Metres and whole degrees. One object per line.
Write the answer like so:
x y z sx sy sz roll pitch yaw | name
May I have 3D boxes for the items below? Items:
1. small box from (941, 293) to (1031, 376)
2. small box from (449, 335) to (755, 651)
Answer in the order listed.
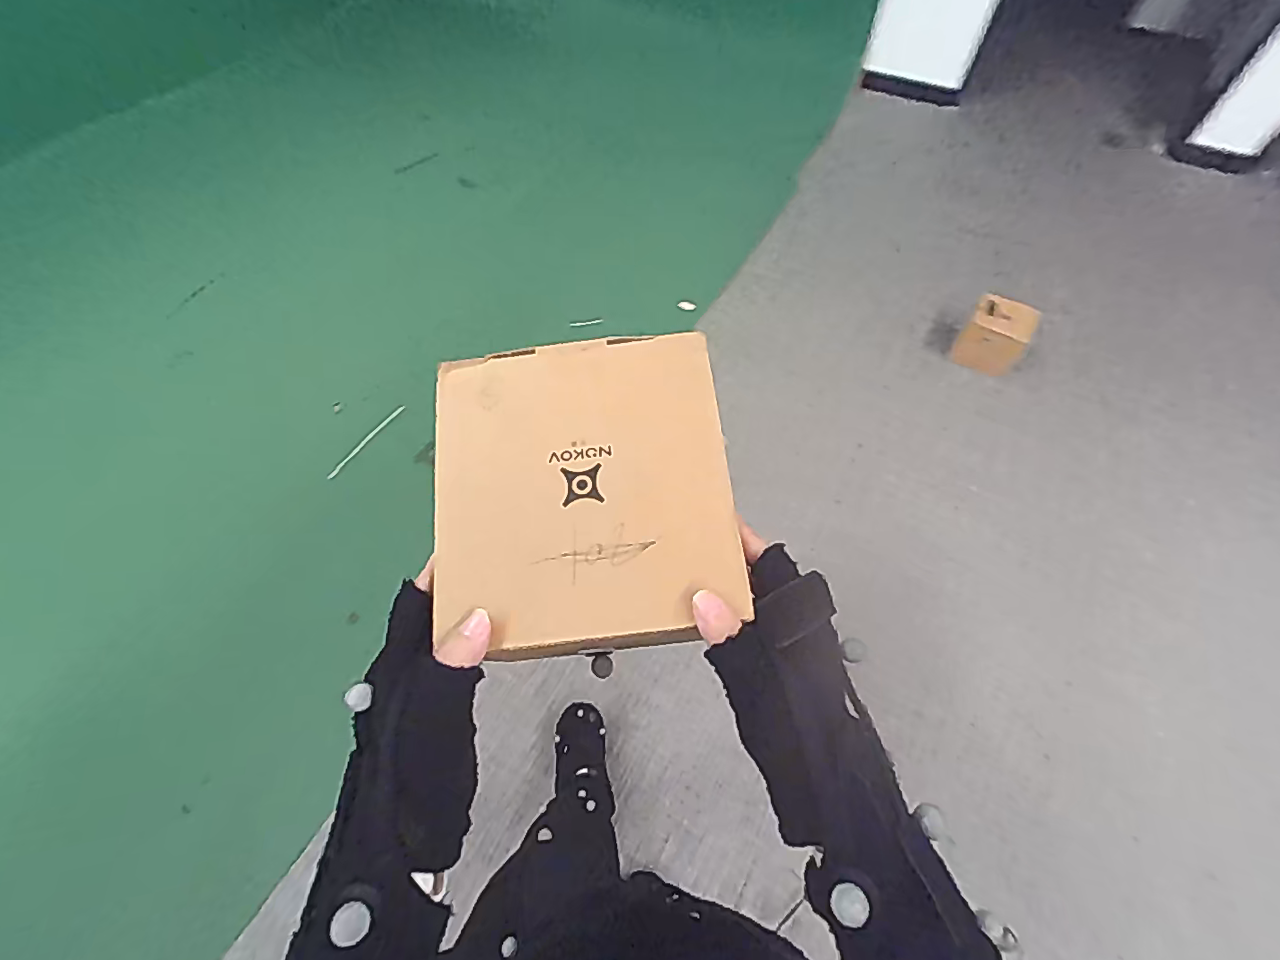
1.129 -0.474 1.779 0.179 0.176 0.168 29 64 16 | small box
-0.024 0.023 0.388 0.168 0.176 0.179 -6 71 1 | small box
